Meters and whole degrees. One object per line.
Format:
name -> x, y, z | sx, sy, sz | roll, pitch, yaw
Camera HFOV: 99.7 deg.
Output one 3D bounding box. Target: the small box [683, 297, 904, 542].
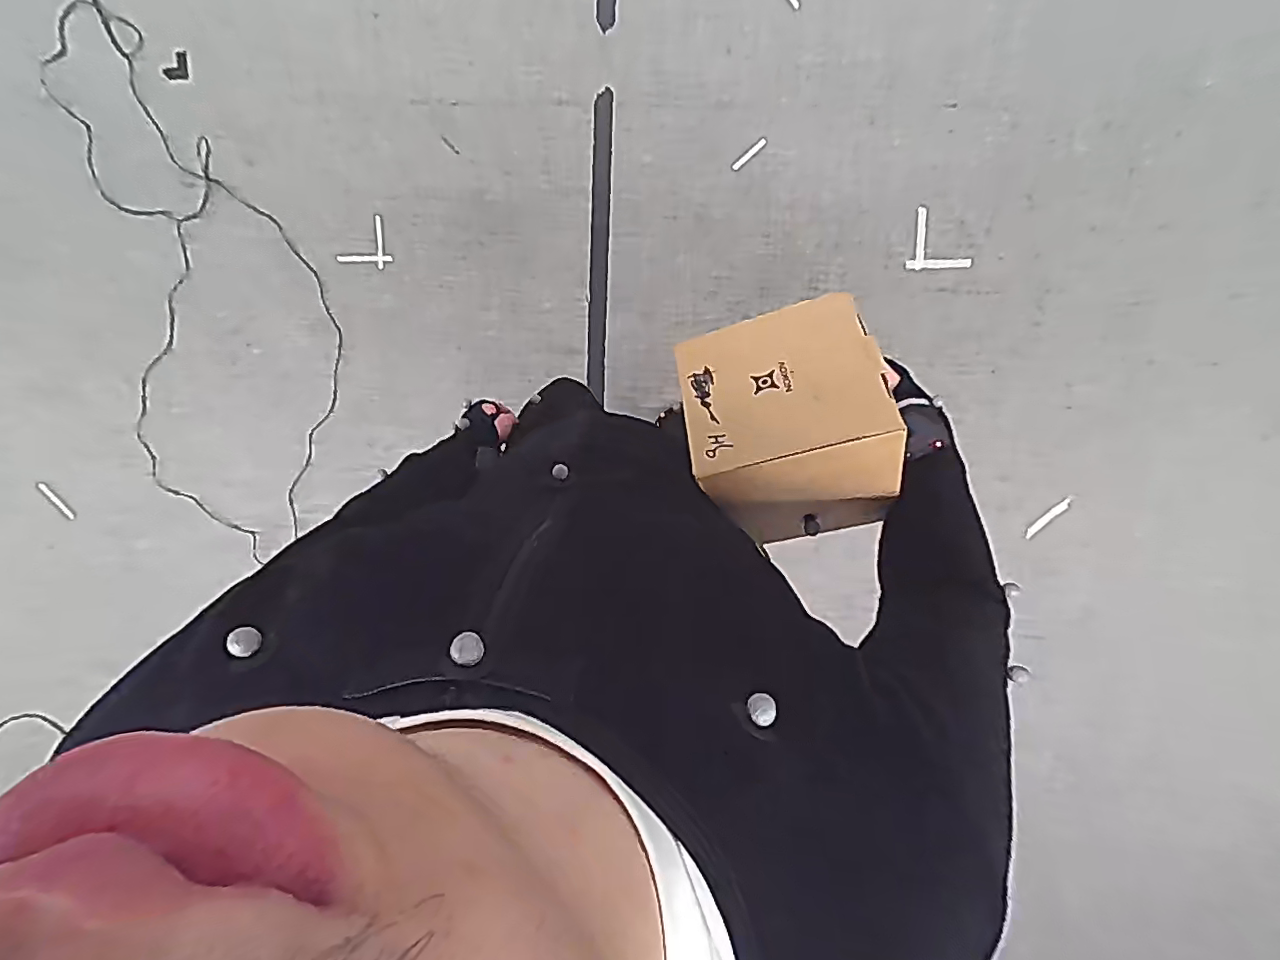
small box -> 0.156, -0.053, 0.569 | 0.179, 0.176, 0.168 | -14, 56, 14
